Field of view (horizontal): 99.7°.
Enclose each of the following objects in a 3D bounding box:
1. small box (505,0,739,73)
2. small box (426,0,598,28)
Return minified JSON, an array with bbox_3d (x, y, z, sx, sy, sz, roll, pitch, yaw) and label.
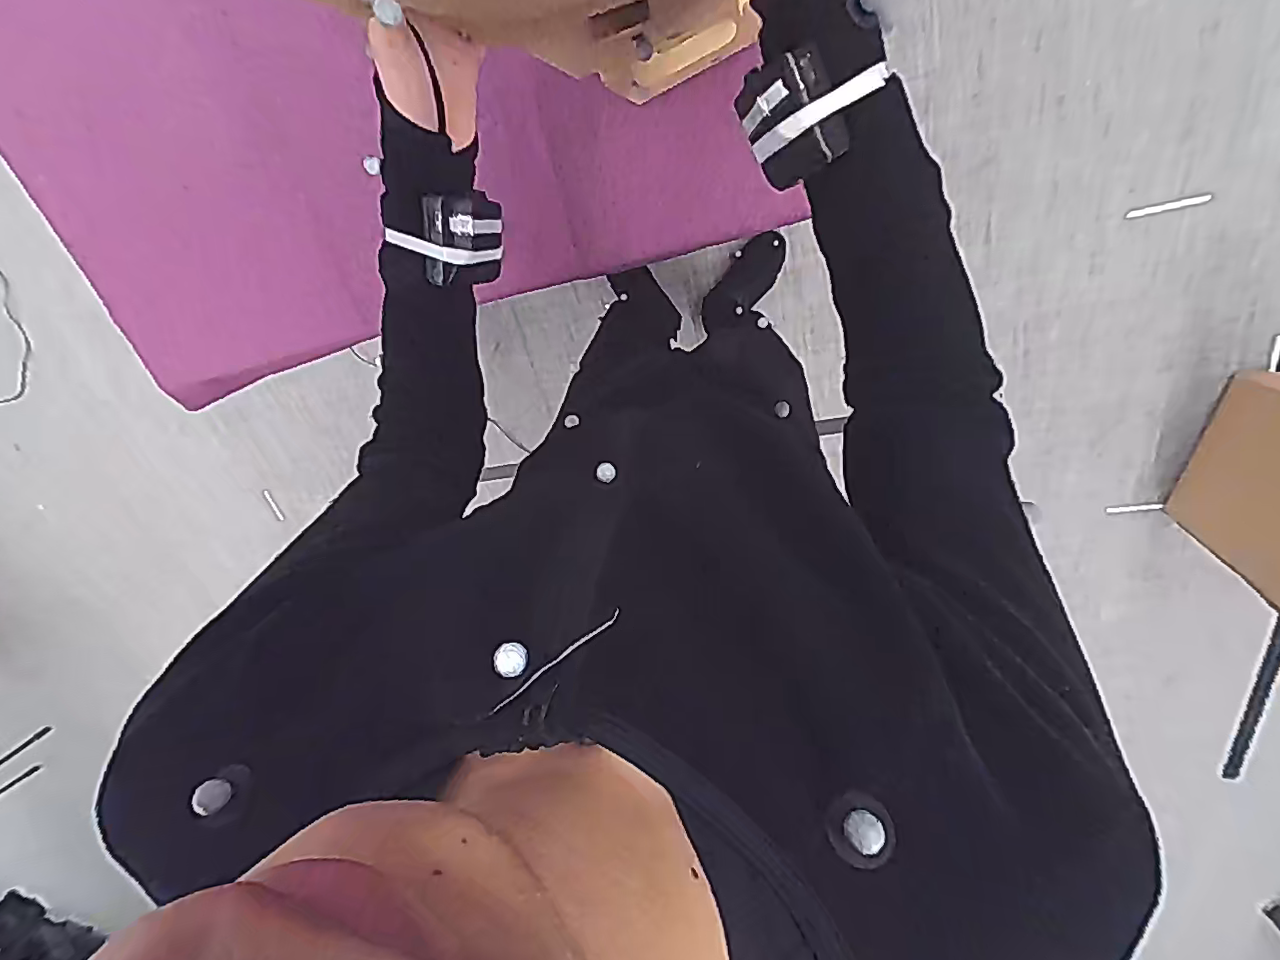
[{"bbox_3d":[-0.023,-0.443,0.402,0.168,0.176,0.179,-7,116,18],"label":"small box"},{"bbox_3d":[-0.060,-0.360,0.267,0.168,0.176,0.179,-5,117,16],"label":"small box"}]
